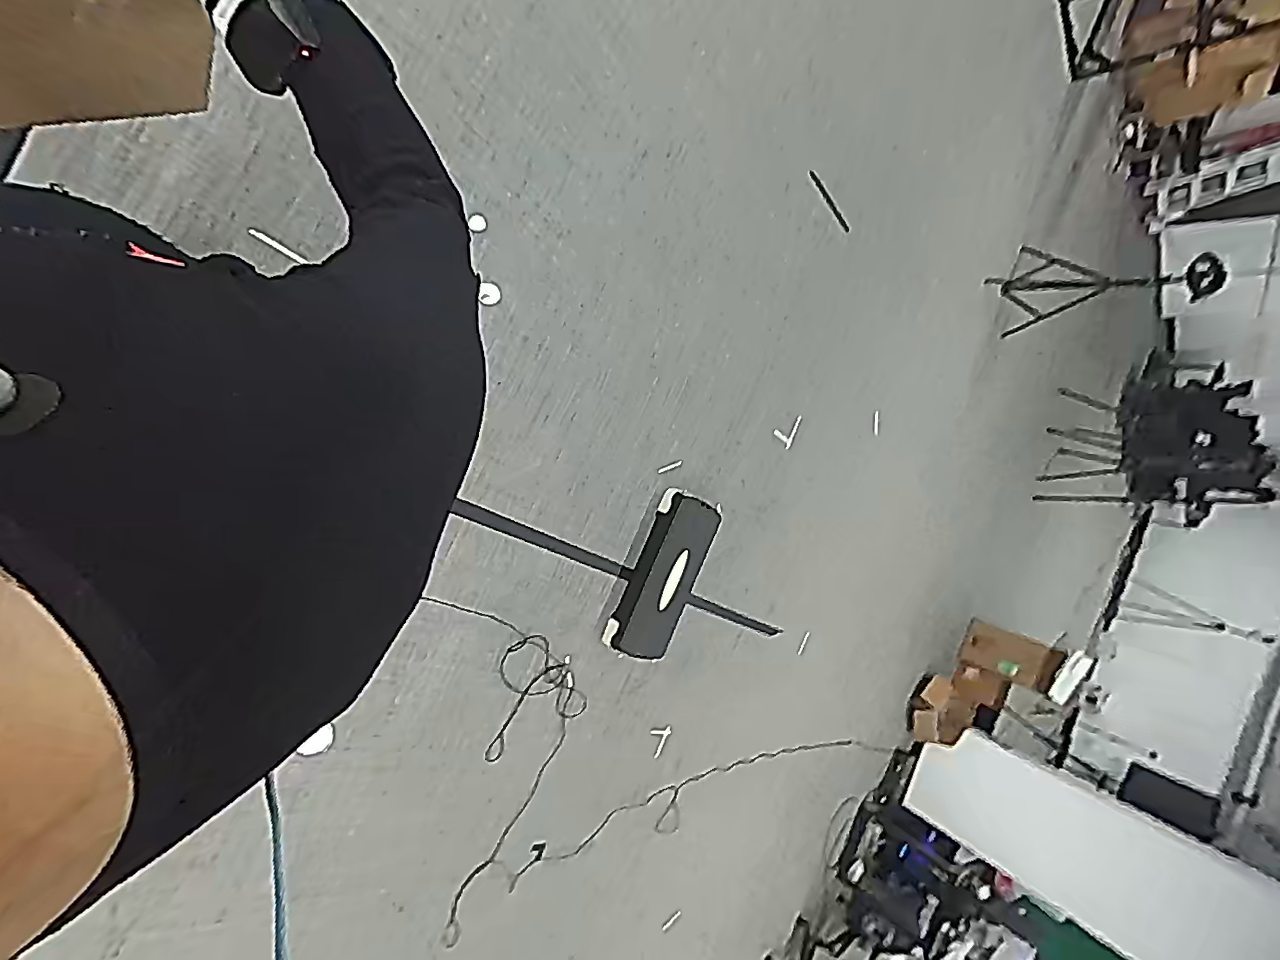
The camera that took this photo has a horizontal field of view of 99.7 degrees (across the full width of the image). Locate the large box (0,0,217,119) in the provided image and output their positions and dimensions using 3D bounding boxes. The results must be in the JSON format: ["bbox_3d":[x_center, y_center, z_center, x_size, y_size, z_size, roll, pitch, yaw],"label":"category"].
[{"bbox_3d":[-0.544,-0.414,0.297,0.408,0.320,0.320,-30,121,-31],"label":"large box"}]
